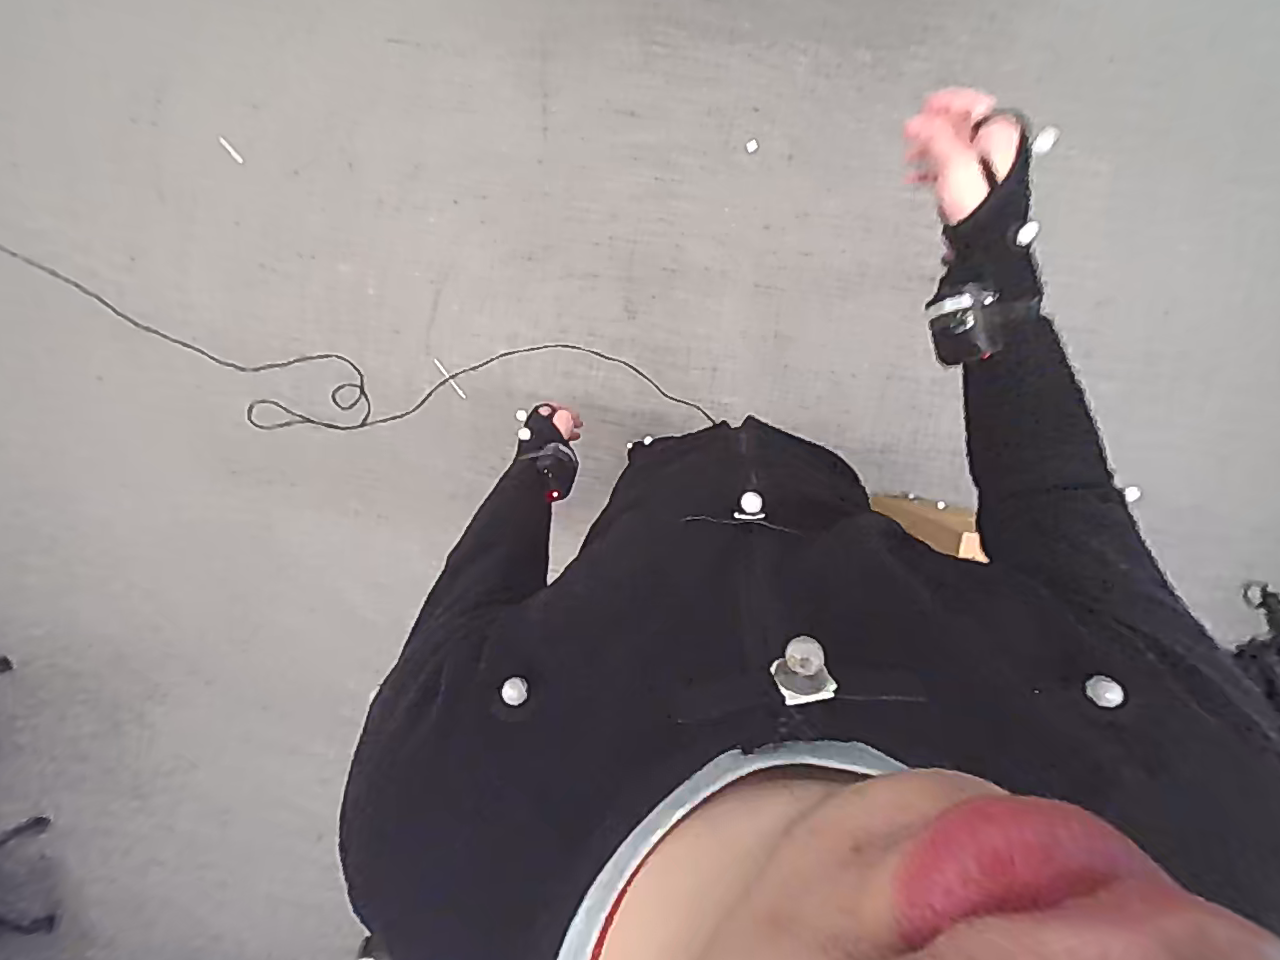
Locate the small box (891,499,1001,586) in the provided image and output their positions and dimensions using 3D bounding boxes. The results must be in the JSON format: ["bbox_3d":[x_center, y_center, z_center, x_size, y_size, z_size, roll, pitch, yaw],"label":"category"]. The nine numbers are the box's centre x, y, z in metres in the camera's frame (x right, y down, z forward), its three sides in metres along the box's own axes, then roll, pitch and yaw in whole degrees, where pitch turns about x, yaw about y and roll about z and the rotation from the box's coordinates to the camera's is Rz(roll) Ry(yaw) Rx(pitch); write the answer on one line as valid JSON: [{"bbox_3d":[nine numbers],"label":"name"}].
[{"bbox_3d":[0.717,0.150,1.288,0.168,0.176,0.179,4,97,3],"label":"small box"}]

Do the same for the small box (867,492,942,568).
[{"bbox_3d":[0.726,0.136,1.451,0.168,0.176,0.179,5,96,3],"label":"small box"}]
